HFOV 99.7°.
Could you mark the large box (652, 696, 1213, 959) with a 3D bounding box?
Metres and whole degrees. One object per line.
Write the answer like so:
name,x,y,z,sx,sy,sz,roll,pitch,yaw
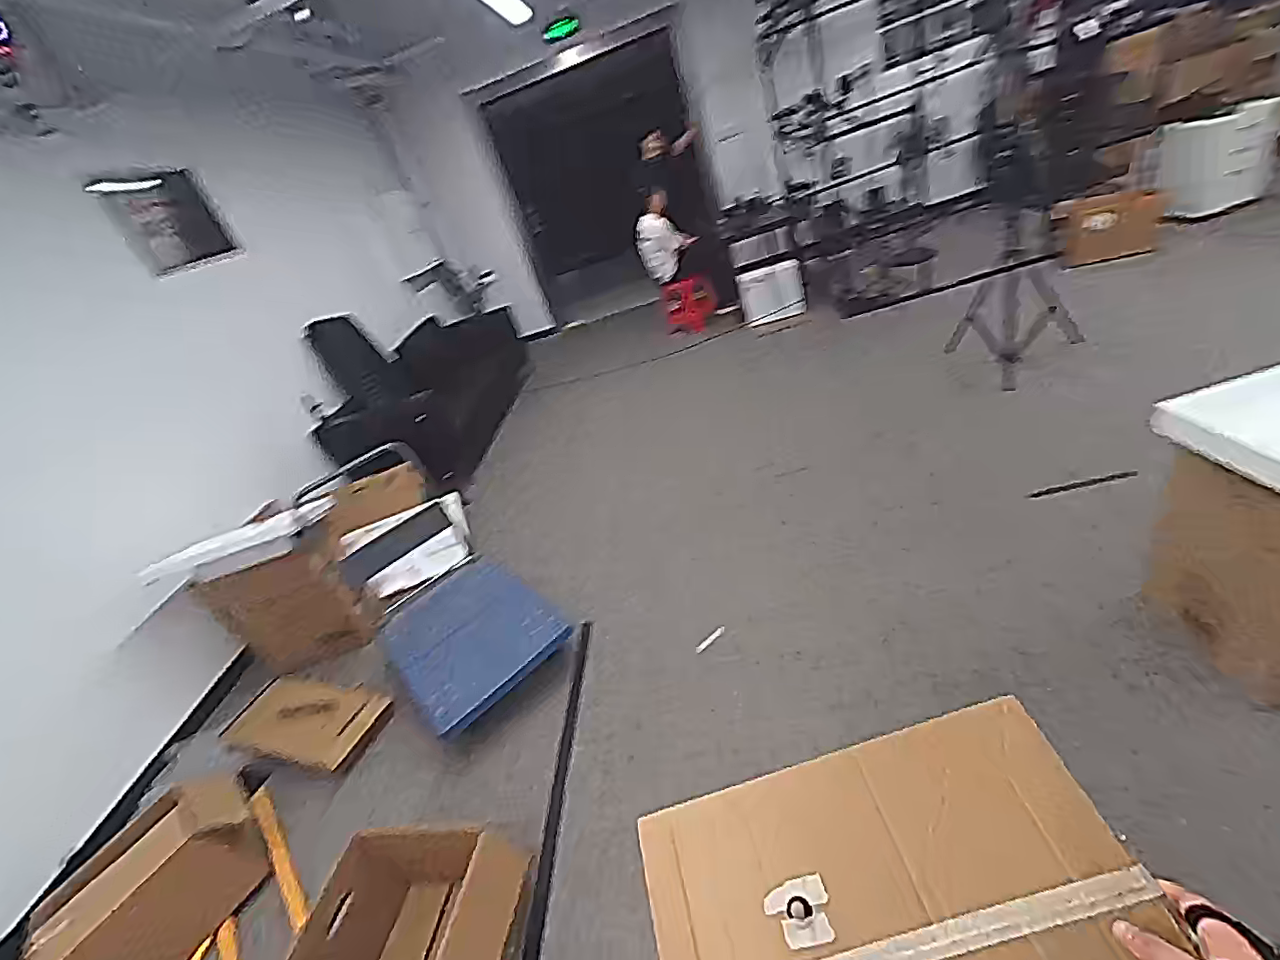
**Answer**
large box,0.275,0.477,0.549,0.408,0.320,0.320,-23,46,7
